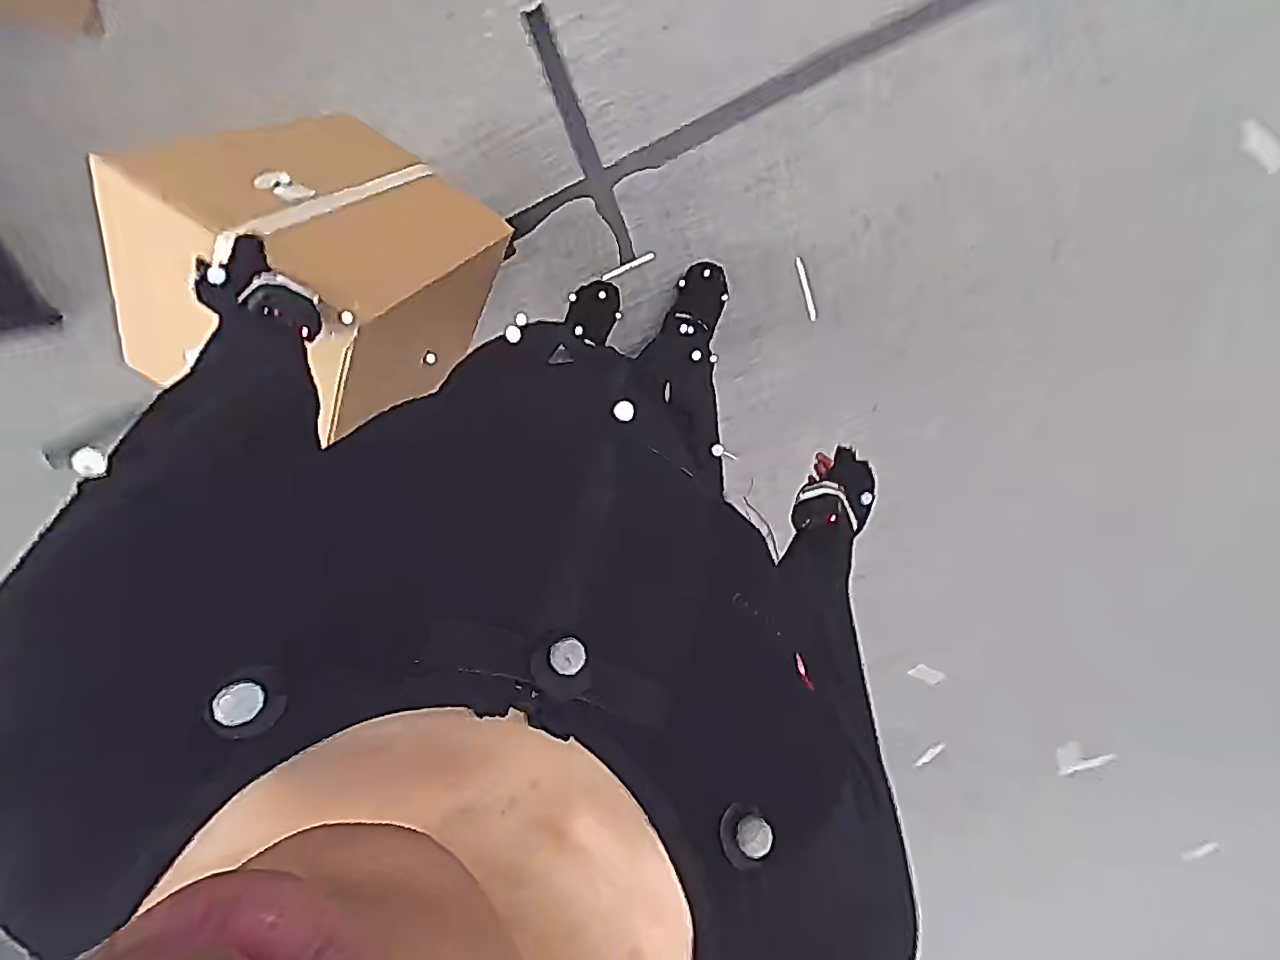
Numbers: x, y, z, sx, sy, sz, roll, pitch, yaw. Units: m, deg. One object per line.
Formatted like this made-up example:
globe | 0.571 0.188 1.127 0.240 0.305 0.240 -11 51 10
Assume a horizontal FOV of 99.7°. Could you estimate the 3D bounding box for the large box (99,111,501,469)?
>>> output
large box | -0.484 -0.300 0.847 0.320 0.408 0.320 34 133 -9
